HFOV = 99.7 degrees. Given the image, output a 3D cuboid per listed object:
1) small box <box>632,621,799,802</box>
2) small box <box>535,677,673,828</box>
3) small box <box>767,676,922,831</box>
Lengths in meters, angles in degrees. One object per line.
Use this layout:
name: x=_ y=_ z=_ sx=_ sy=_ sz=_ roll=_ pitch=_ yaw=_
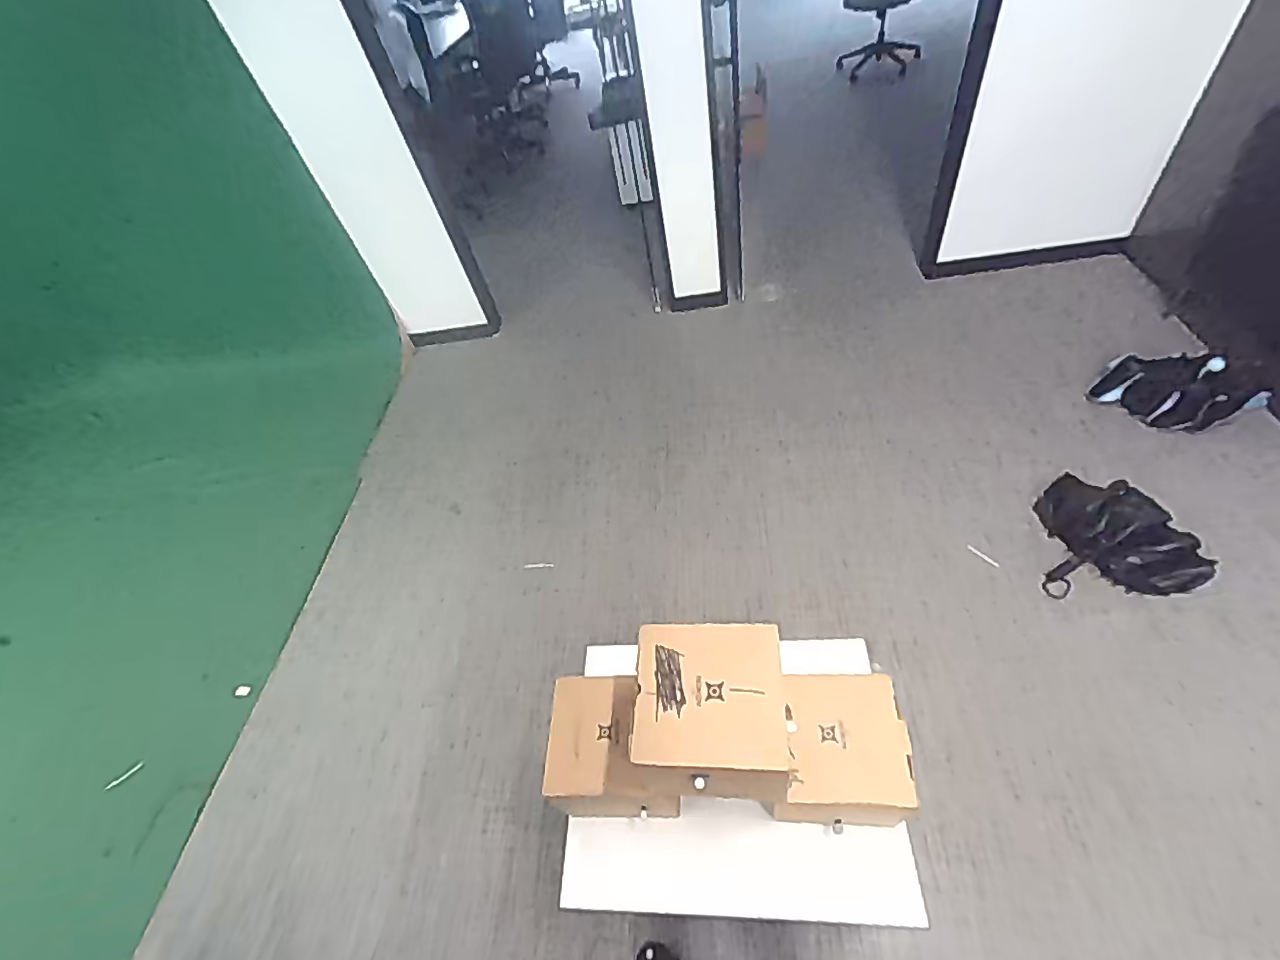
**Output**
small box: x=0.093 y=0.288 z=0.670 sx=0.179 sy=0.176 sz=0.168 roll=-2 pitch=49 yaw=8
small box: x=-0.041 y=0.408 z=0.807 sx=0.179 sy=0.176 sz=0.168 roll=-5 pitch=48 yaw=5
small box: x=0.269 y=0.390 z=0.771 sx=0.179 sy=0.176 sz=0.168 roll=-4 pitch=49 yaw=8
